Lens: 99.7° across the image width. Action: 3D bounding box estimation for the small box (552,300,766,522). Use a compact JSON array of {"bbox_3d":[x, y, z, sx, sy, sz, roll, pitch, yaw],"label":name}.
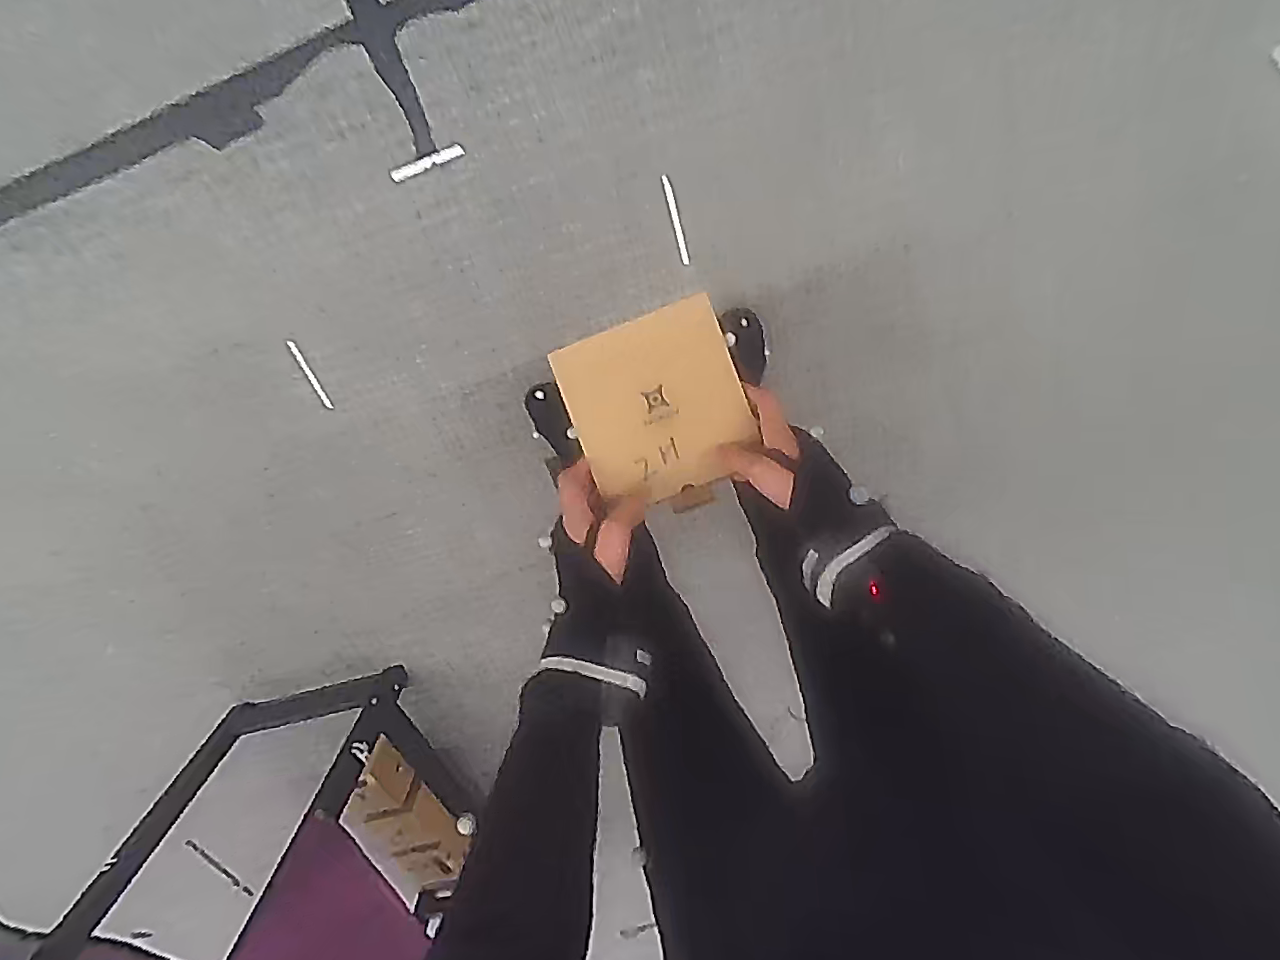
[{"bbox_3d":[0.021,-0.069,0.601,0.168,0.176,0.179,-20,93,5],"label":"small box"}]
